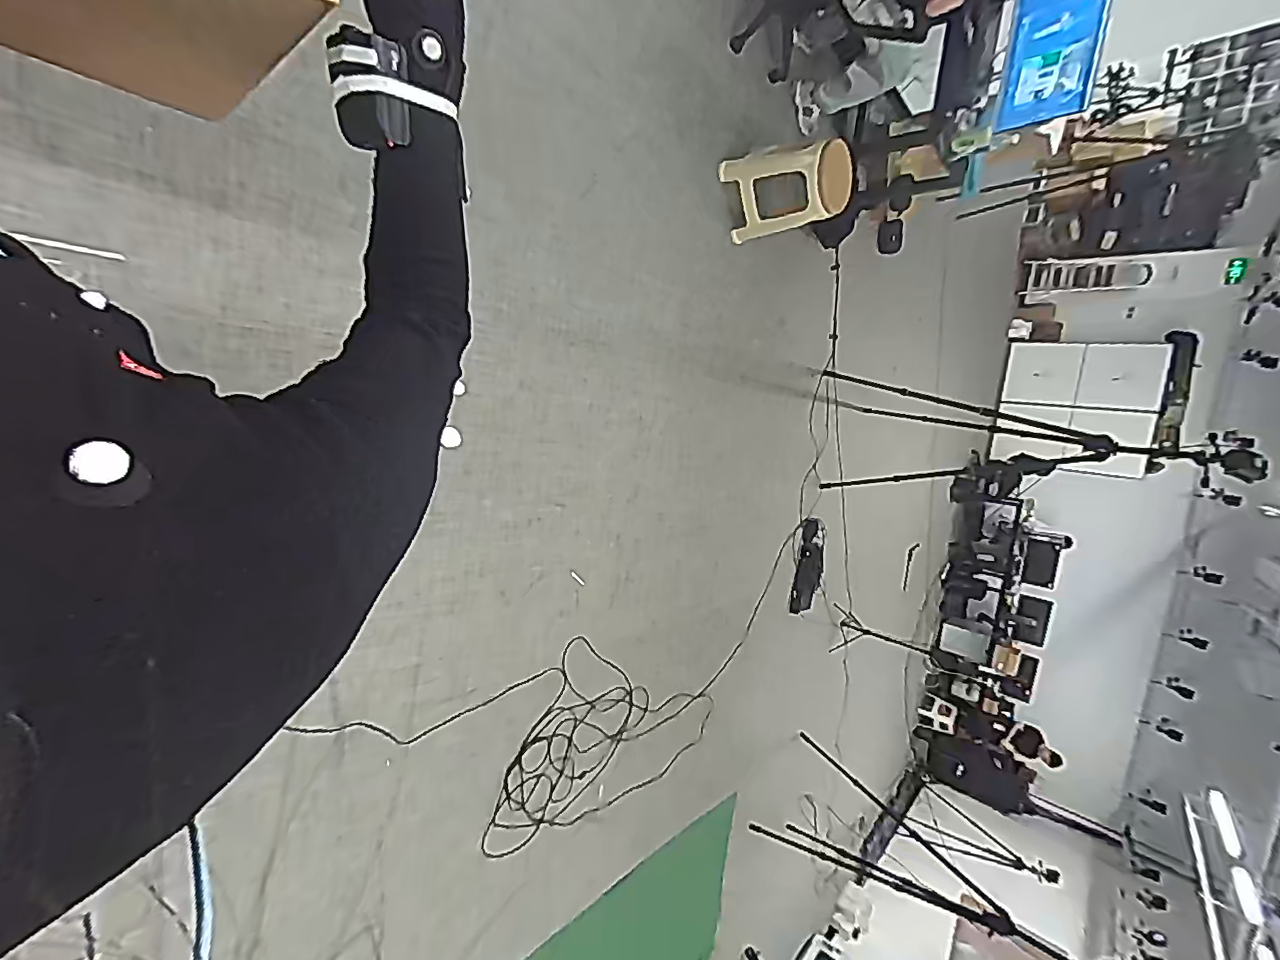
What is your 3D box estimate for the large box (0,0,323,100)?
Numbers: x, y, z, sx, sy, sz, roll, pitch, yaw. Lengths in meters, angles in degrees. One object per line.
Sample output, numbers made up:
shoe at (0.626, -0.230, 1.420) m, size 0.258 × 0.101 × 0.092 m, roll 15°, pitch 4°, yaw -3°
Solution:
large box at (-0.420, -0.482, 0.271) m, size 0.408 × 0.320 × 0.320 m, roll -5°, pitch 105°, yaw -50°
